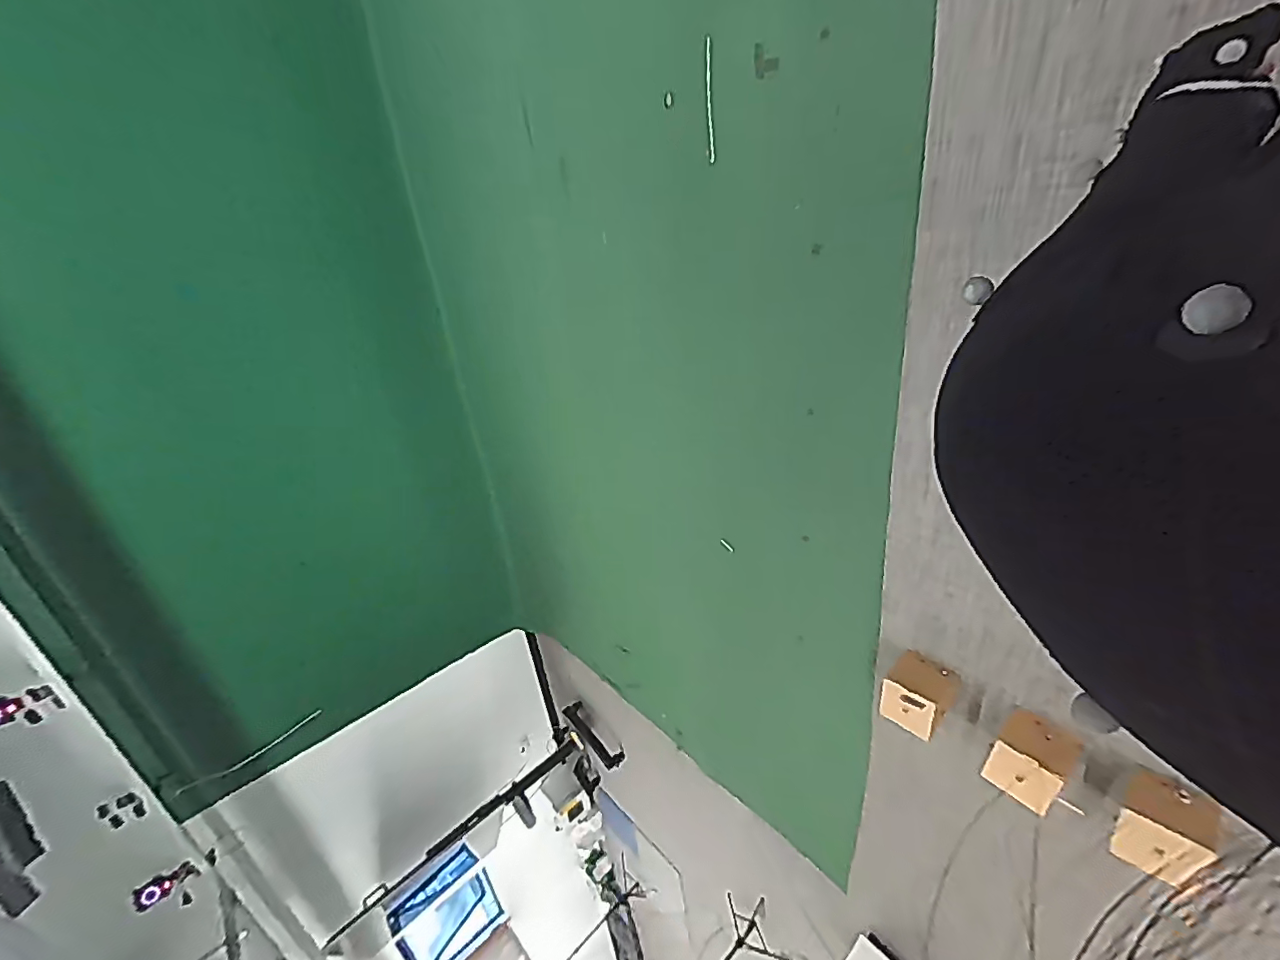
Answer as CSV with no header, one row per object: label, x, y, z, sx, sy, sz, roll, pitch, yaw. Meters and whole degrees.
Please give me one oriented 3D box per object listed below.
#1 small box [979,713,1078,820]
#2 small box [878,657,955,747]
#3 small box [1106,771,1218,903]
small box,1.120,0.819,1.558,0.168,0.176,0.179,28,131,41
small box,0.908,0.720,1.775,0.168,0.176,0.179,23,129,44
small box,1.305,0.881,1.350,0.168,0.176,0.179,16,122,45
